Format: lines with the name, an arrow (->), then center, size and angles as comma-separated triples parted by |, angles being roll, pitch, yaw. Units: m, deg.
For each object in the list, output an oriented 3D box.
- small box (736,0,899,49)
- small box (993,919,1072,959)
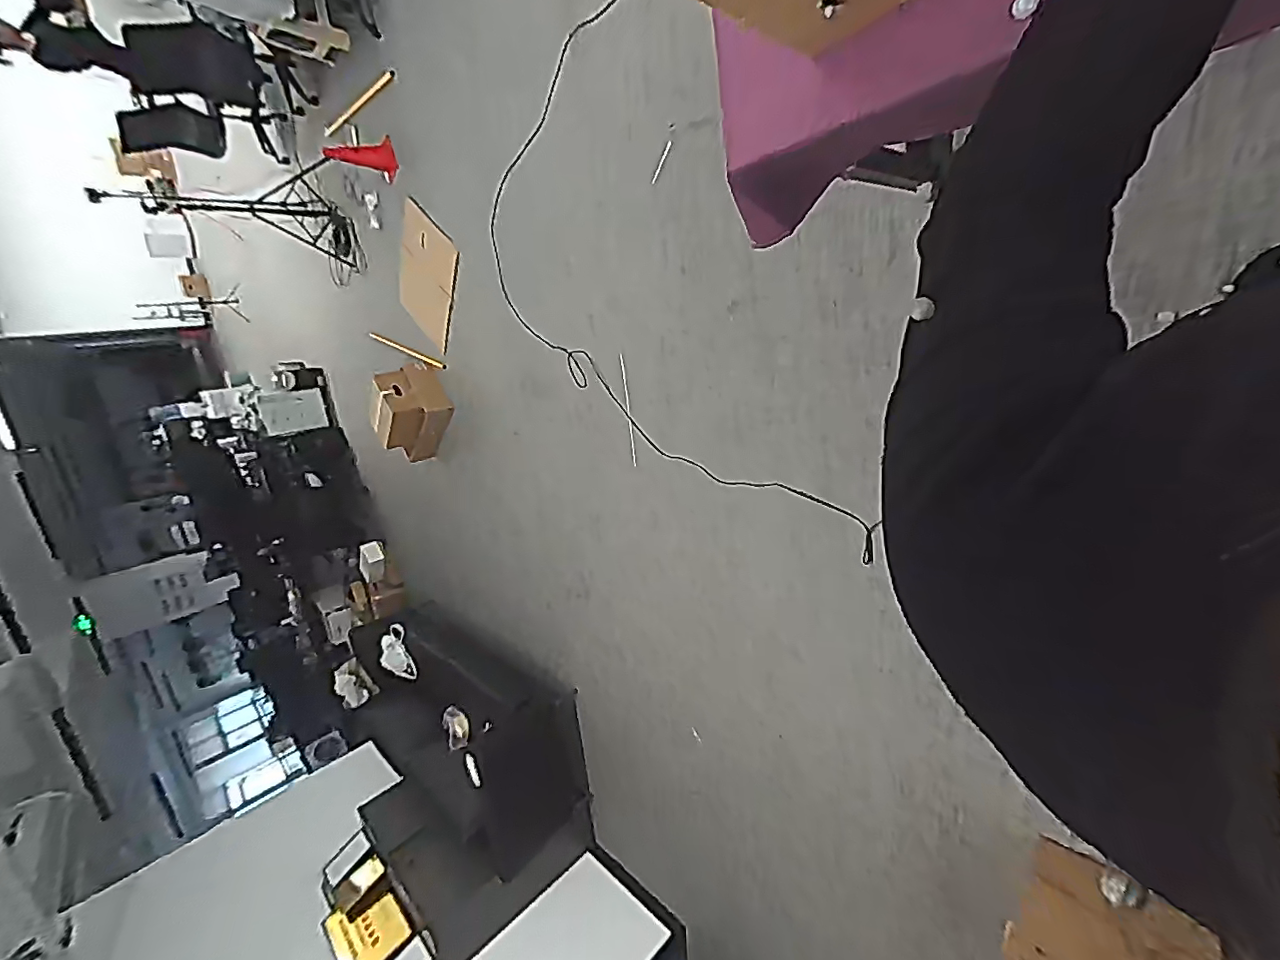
small box -> 0.217, -0.631, 0.603 | 0.179, 0.176, 0.168 | 4, 108, 48
small box -> 0.914, 1.187, 1.254 | 0.168, 0.176, 0.179 | 21, 123, 43
